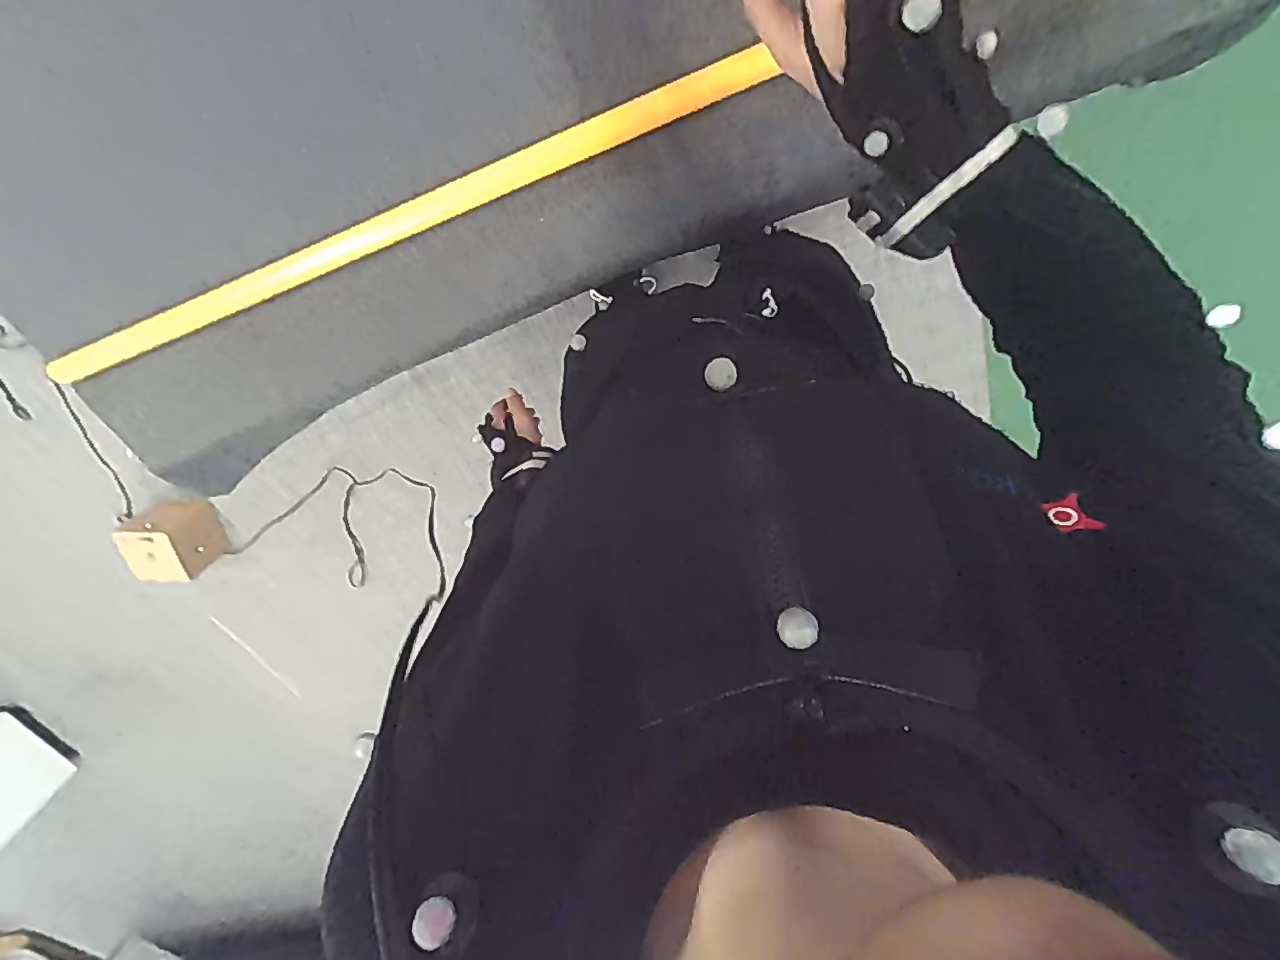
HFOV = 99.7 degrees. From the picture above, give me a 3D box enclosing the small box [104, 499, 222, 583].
[{"bbox_3d":[-1.383,0.177,1.585,0.168,0.176,0.179,2,120,3],"label":"small box"}]
